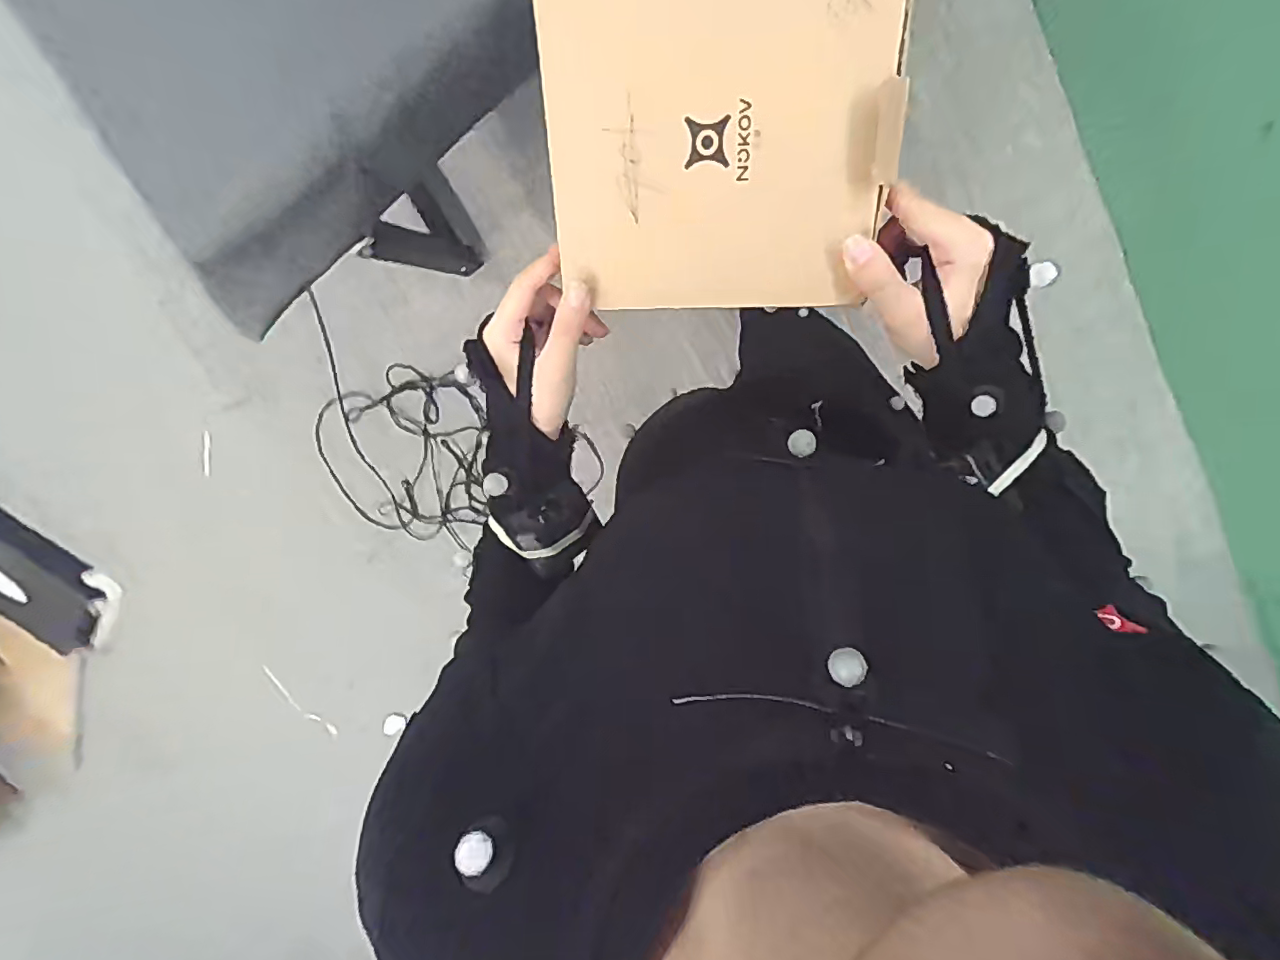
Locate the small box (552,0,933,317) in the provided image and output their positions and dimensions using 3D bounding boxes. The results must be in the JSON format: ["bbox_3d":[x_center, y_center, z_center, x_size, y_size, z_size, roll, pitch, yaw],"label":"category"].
[{"bbox_3d":[0.056,-0.203,0.346,0.179,0.176,0.168,1,116,8],"label":"small box"}]
